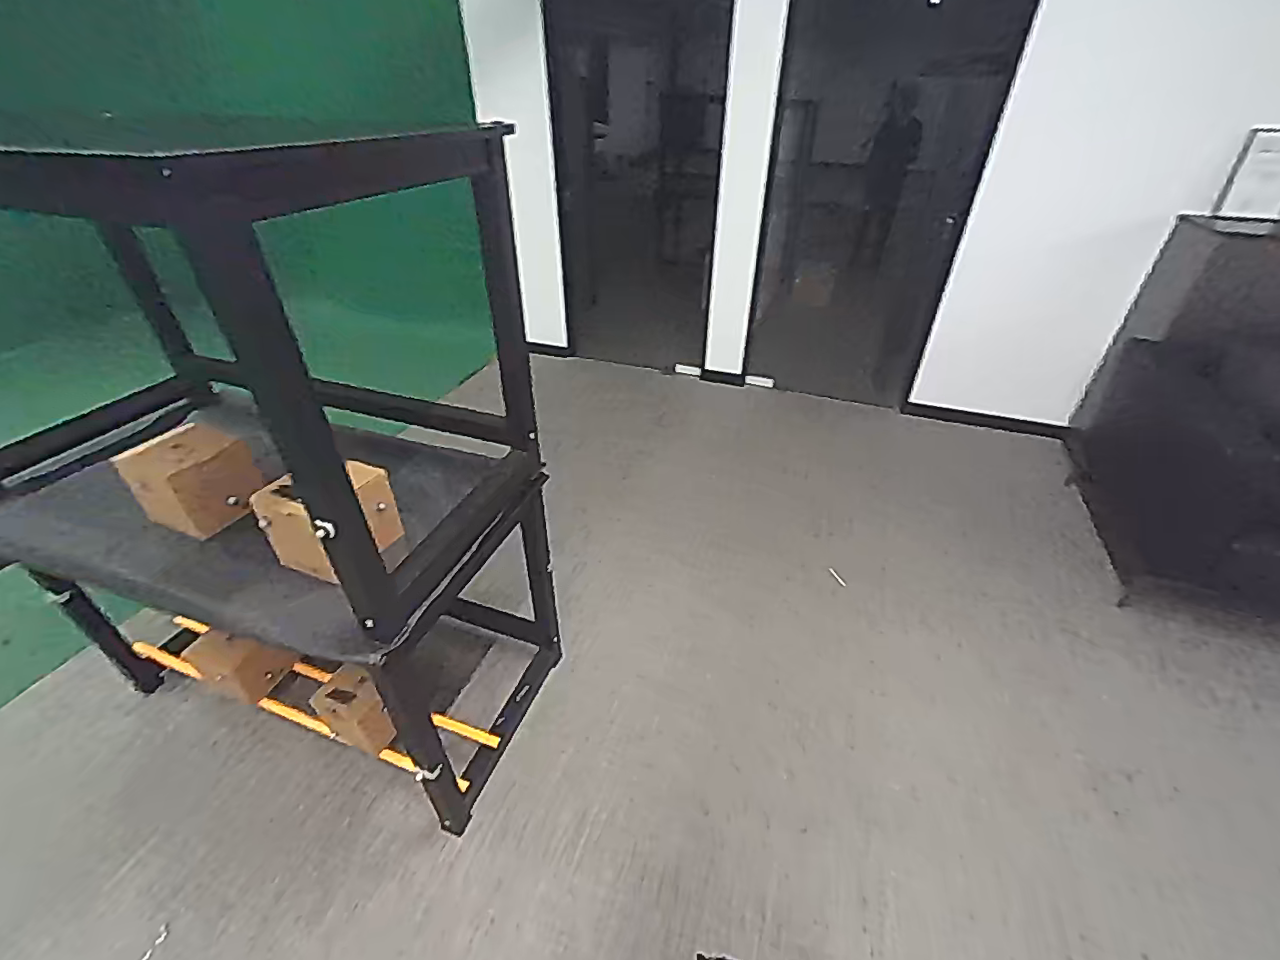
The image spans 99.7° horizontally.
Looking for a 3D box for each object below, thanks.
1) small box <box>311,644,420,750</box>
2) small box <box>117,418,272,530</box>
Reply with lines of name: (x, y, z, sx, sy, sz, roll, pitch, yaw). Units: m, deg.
small box: (-0.717, 0.578, 1.435, 0.168, 0.176, 0.179, 15, 39, 19)
small box: (-0.964, -0.013, 1.185, 0.179, 0.176, 0.168, 14, 38, 19)
